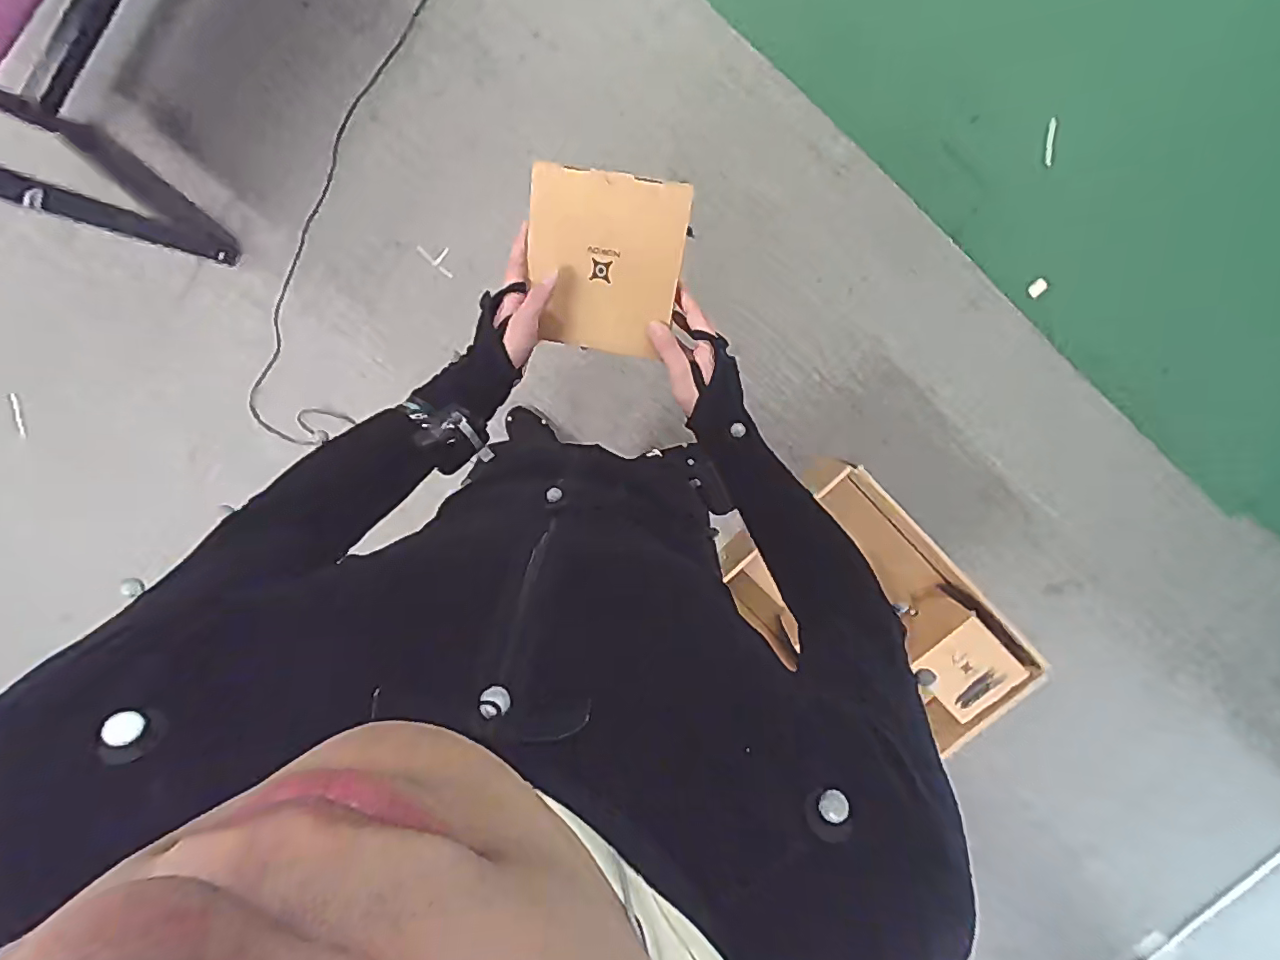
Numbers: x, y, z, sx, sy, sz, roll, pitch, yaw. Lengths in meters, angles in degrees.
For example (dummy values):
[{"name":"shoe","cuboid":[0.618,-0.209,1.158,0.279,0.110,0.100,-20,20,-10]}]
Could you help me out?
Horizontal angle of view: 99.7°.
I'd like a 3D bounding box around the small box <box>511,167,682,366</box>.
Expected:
[{"name":"small box","cuboid":[-0.044,-0.246,0.638,0.168,0.176,0.179,9,111,2]}]
